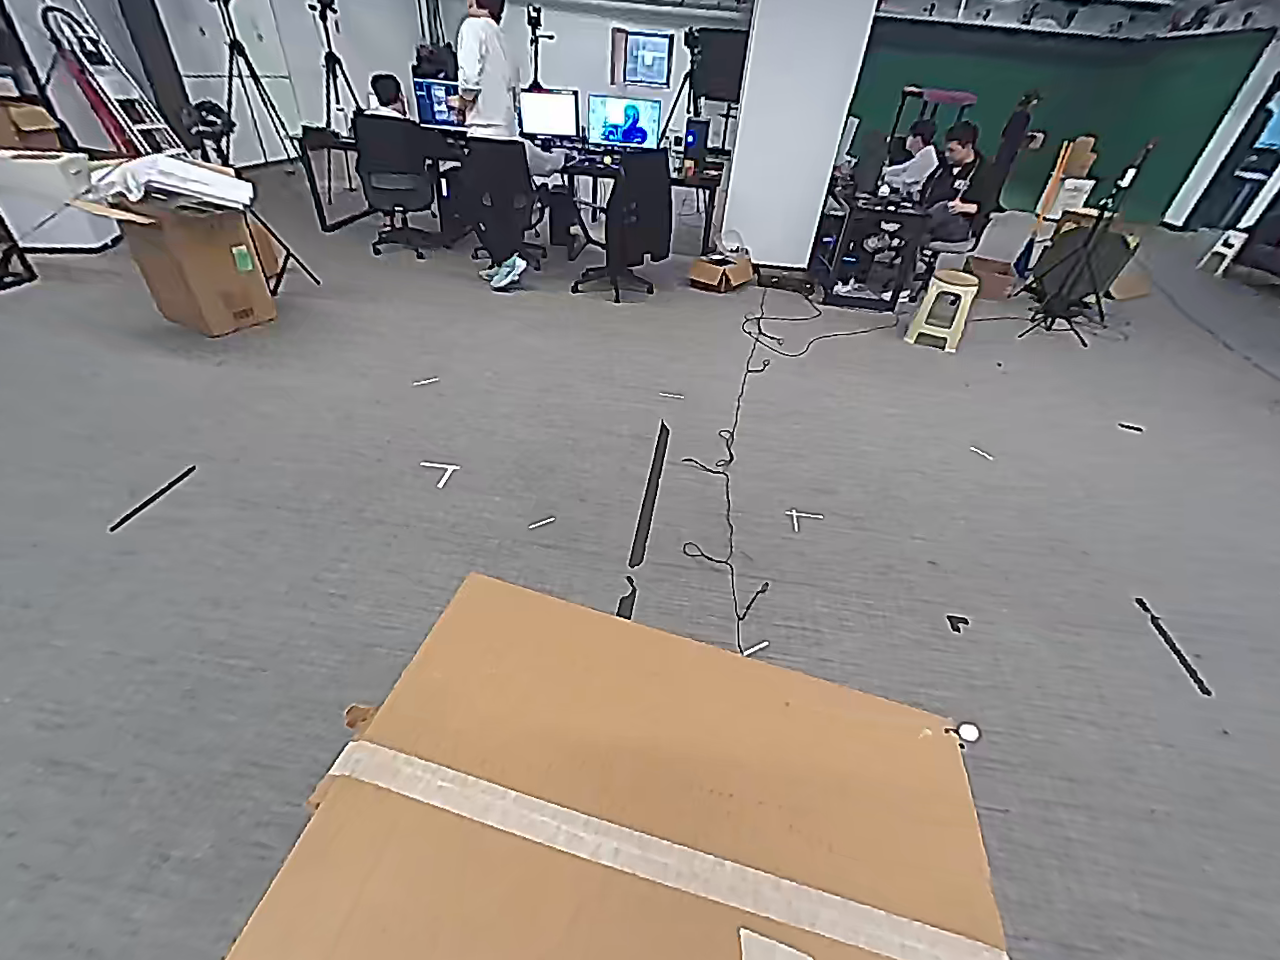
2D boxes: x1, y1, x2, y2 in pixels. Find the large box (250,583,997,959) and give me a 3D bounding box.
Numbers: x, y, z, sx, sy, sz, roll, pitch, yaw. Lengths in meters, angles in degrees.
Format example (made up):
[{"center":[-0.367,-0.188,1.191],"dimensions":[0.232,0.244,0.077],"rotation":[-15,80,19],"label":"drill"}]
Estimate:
[{"center":[-0.009,0.342,0.423],"dimensions":[0.408,0.320,0.320],"rotation":[17,41,3],"label":"large box"}]
